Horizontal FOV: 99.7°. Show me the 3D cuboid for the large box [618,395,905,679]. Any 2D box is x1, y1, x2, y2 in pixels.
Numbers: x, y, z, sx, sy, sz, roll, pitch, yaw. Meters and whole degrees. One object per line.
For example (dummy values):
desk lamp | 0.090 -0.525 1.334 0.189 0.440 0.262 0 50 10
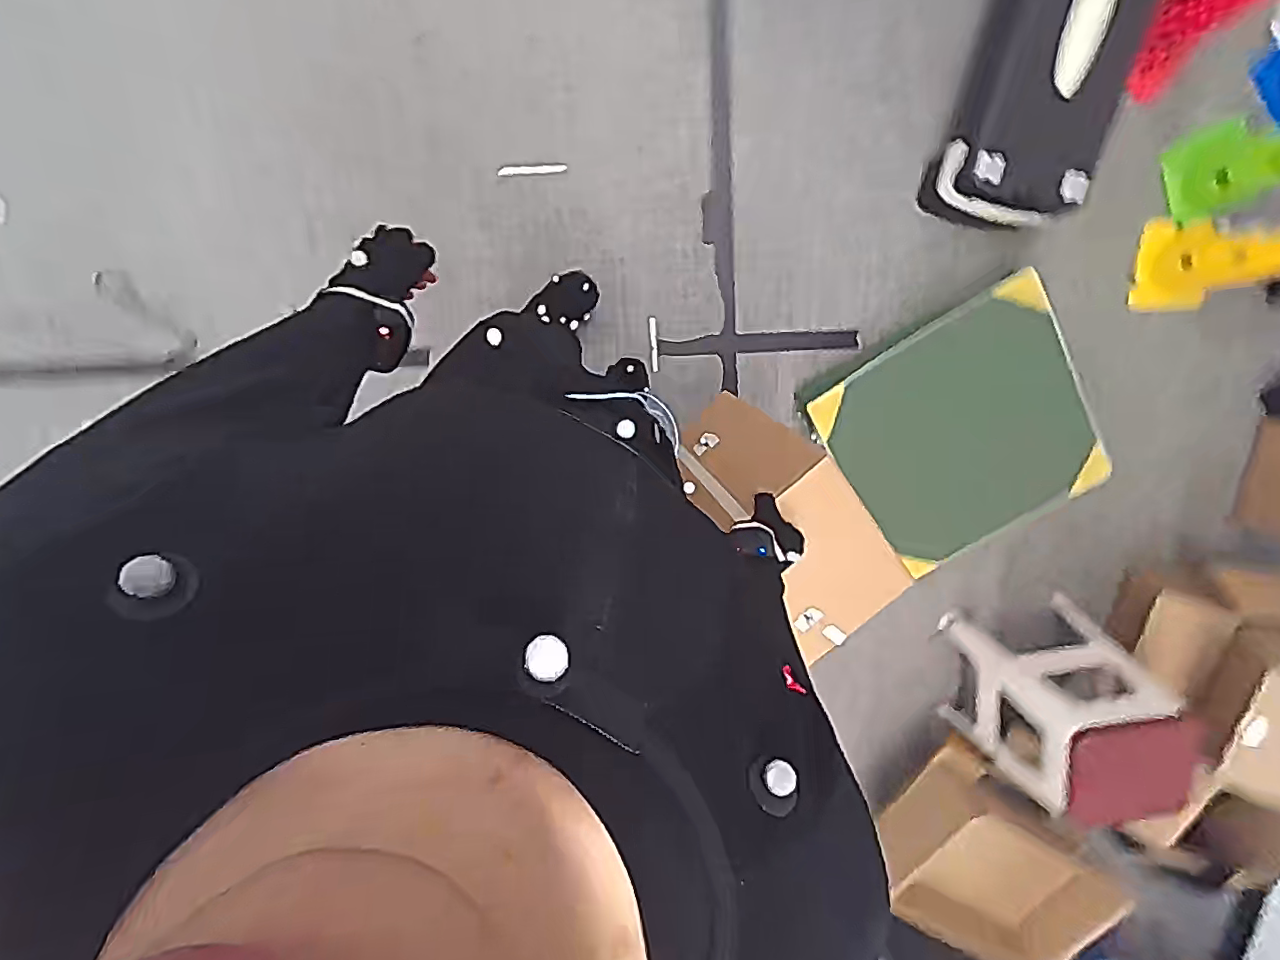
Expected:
large box | 0.204 0.087 1.038 0.320 0.408 0.320 -42 115 5
